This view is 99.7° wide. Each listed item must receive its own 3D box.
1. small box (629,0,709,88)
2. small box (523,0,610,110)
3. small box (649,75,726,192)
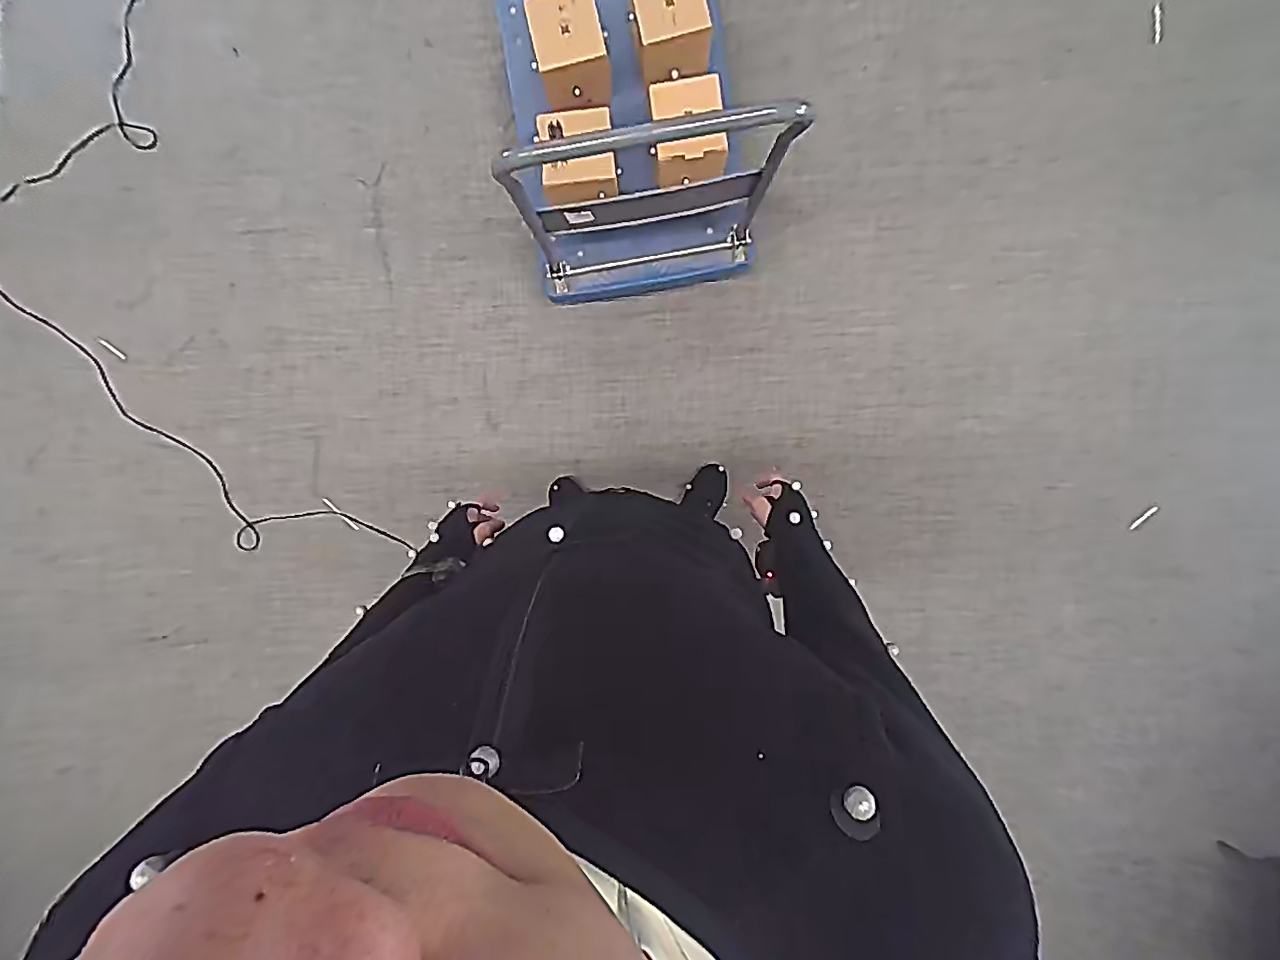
[{"bbox_3d":[0.068,-1.128,1.345,0.168,0.176,0.179,-13,93,3],"label":"small box"},{"bbox_3d":[-0.176,-1.069,1.356,0.168,0.176,0.179,-13,92,2],"label":"small box"},{"bbox_3d":[0.114,-0.861,1.357,0.168,0.176,0.179,-9,93,2],"label":"small box"}]
